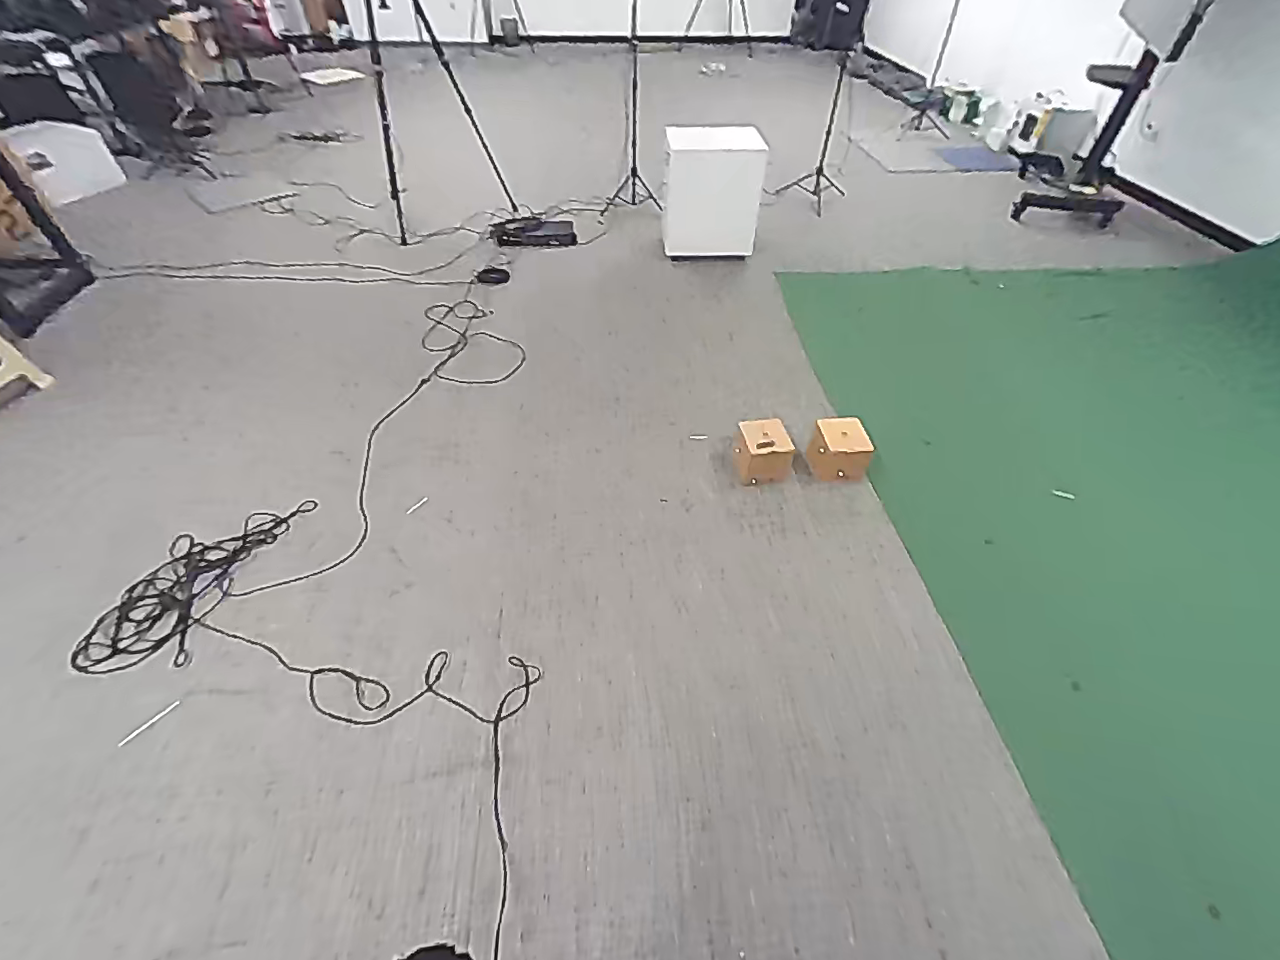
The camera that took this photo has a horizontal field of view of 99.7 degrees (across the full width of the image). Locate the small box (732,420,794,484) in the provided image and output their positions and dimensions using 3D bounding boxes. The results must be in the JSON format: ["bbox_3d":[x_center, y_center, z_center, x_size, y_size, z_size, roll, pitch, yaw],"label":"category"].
[{"bbox_3d":[0.454,-0.099,2.020,0.168,0.176,0.179,-5,47,-7],"label":"small box"}]

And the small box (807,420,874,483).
[{"bbox_3d":[0.746,-0.107,2.037,0.168,0.176,0.179,-3,47,-4],"label":"small box"}]
